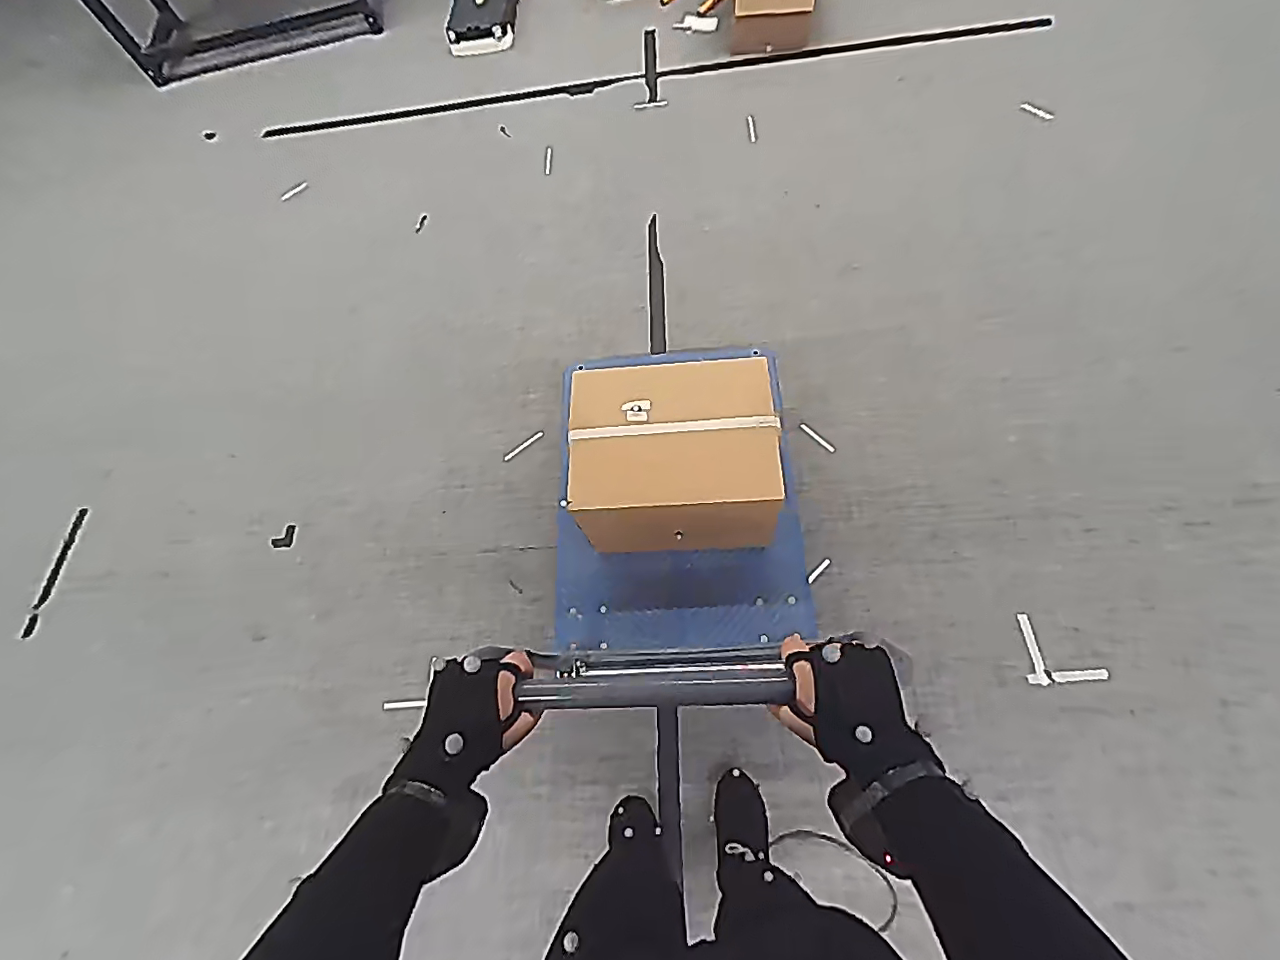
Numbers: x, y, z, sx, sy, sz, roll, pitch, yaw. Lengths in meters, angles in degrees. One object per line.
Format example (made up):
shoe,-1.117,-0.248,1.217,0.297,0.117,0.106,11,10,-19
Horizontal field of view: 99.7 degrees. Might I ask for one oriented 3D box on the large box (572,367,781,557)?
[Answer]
large box,0.082,-0.021,1.216,0.408,0.320,0.320,-4,66,7
